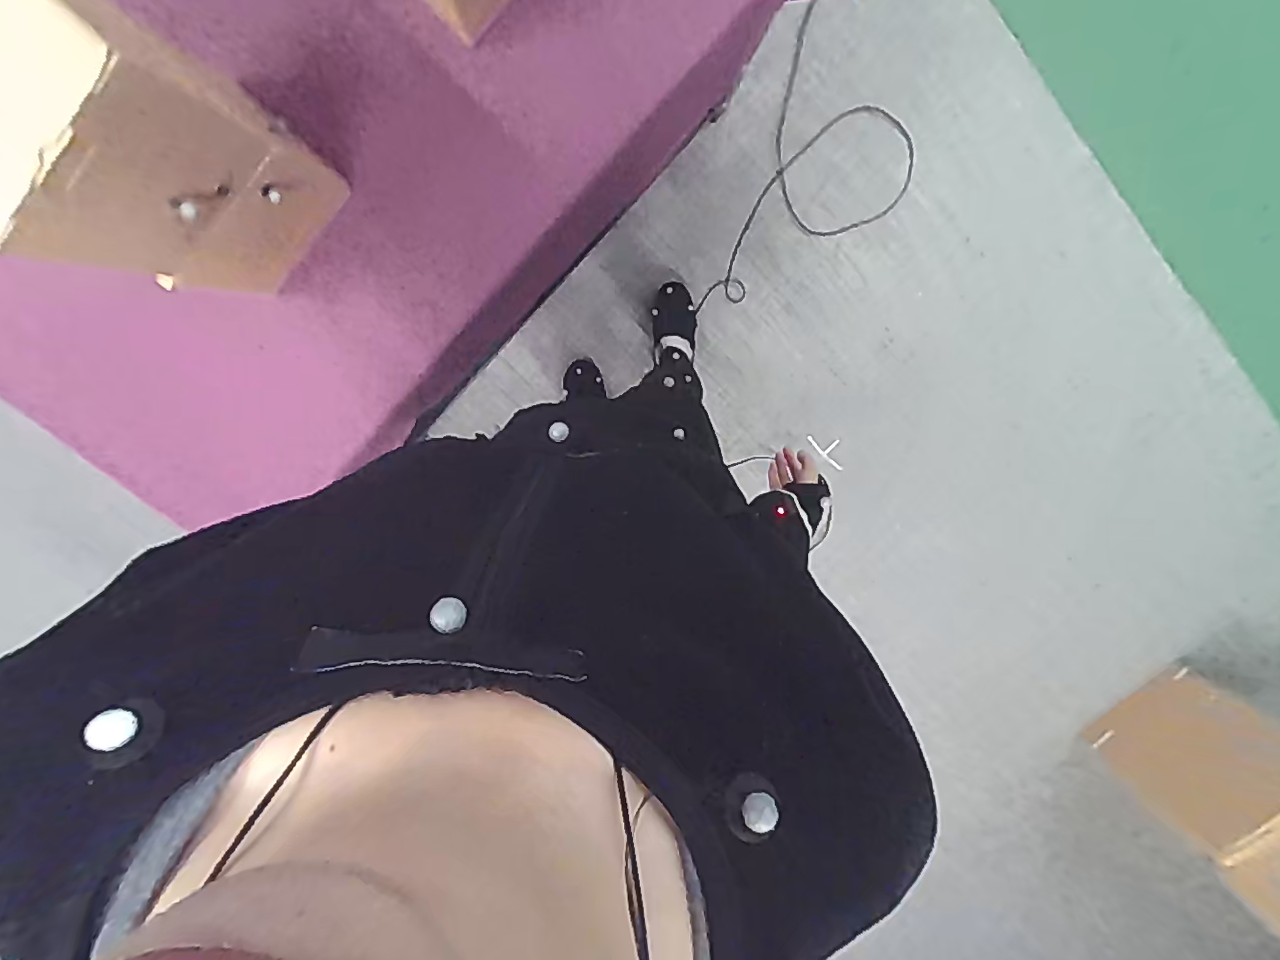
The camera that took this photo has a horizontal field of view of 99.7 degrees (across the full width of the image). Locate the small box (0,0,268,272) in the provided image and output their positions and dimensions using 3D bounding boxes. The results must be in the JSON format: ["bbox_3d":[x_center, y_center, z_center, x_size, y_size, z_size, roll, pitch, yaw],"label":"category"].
[{"bbox_3d":[-0.454,-0.287,0.423,0.179,0.176,0.168,41,99,-12],"label":"small box"}]

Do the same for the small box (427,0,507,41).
[{"bbox_3d":[-0.192,-0.595,0.526,0.168,0.176,0.179,42,98,-13],"label":"small box"}]

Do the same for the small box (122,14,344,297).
[{"bbox_3d":[-0.465,-0.321,0.585,0.168,0.176,0.179,41,98,-12],"label":"small box"}]

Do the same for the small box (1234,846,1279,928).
[{"bbox_3d":[1.668,1.054,1.342,0.179,0.176,0.168,-43,101,8],"label":"small box"}]
